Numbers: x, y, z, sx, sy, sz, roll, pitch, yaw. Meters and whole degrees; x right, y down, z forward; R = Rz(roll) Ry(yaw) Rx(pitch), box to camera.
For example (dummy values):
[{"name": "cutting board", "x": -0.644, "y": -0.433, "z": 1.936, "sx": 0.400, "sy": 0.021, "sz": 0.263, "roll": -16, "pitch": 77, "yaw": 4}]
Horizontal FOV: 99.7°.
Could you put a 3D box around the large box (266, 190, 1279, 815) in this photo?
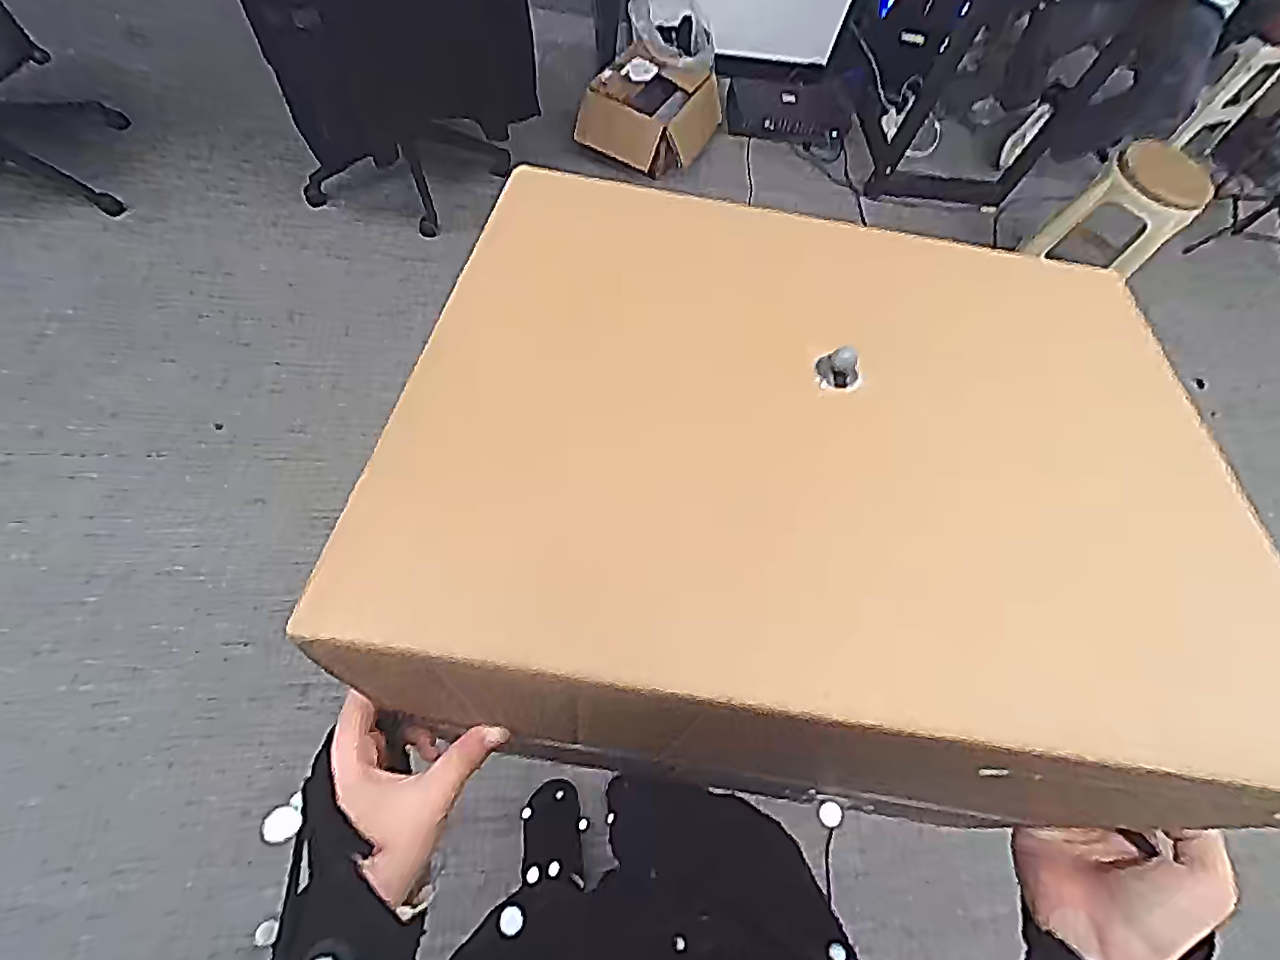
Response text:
[{"name": "large box", "x": 0.065, "y": 0.035, "z": 0.394, "sx": 0.408, "sy": 0.320, "sz": 0.320, "roll": 7, "pitch": 58, "yaw": -1}]
